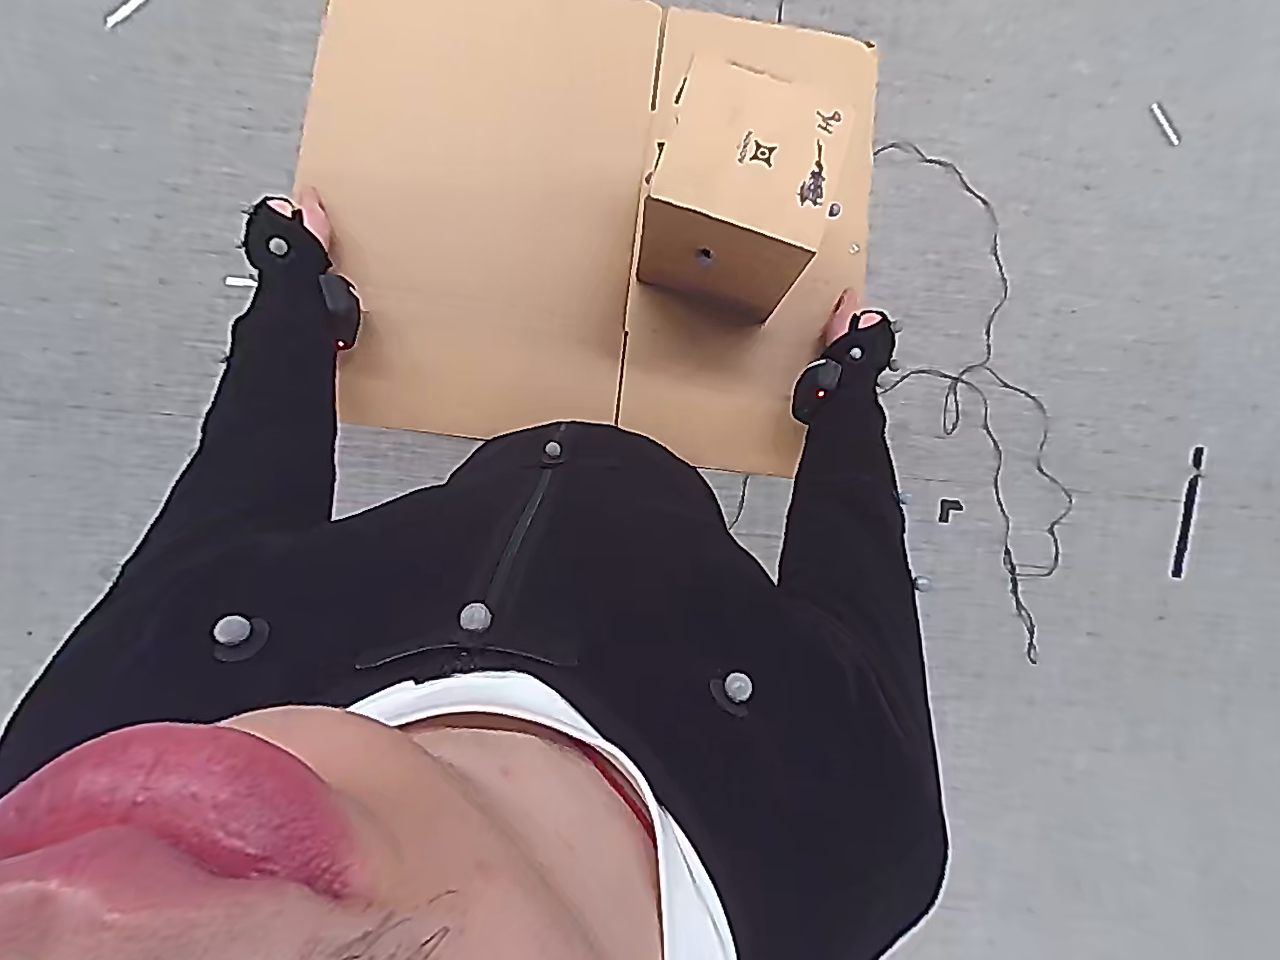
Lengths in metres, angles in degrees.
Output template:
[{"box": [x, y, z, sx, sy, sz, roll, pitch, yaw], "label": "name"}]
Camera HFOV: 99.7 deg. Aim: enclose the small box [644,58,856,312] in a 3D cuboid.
[{"box": [0.110, -0.316, 0.616, 0.179, 0.176, 0.168, 17, 83, -1], "label": "small box"}]
